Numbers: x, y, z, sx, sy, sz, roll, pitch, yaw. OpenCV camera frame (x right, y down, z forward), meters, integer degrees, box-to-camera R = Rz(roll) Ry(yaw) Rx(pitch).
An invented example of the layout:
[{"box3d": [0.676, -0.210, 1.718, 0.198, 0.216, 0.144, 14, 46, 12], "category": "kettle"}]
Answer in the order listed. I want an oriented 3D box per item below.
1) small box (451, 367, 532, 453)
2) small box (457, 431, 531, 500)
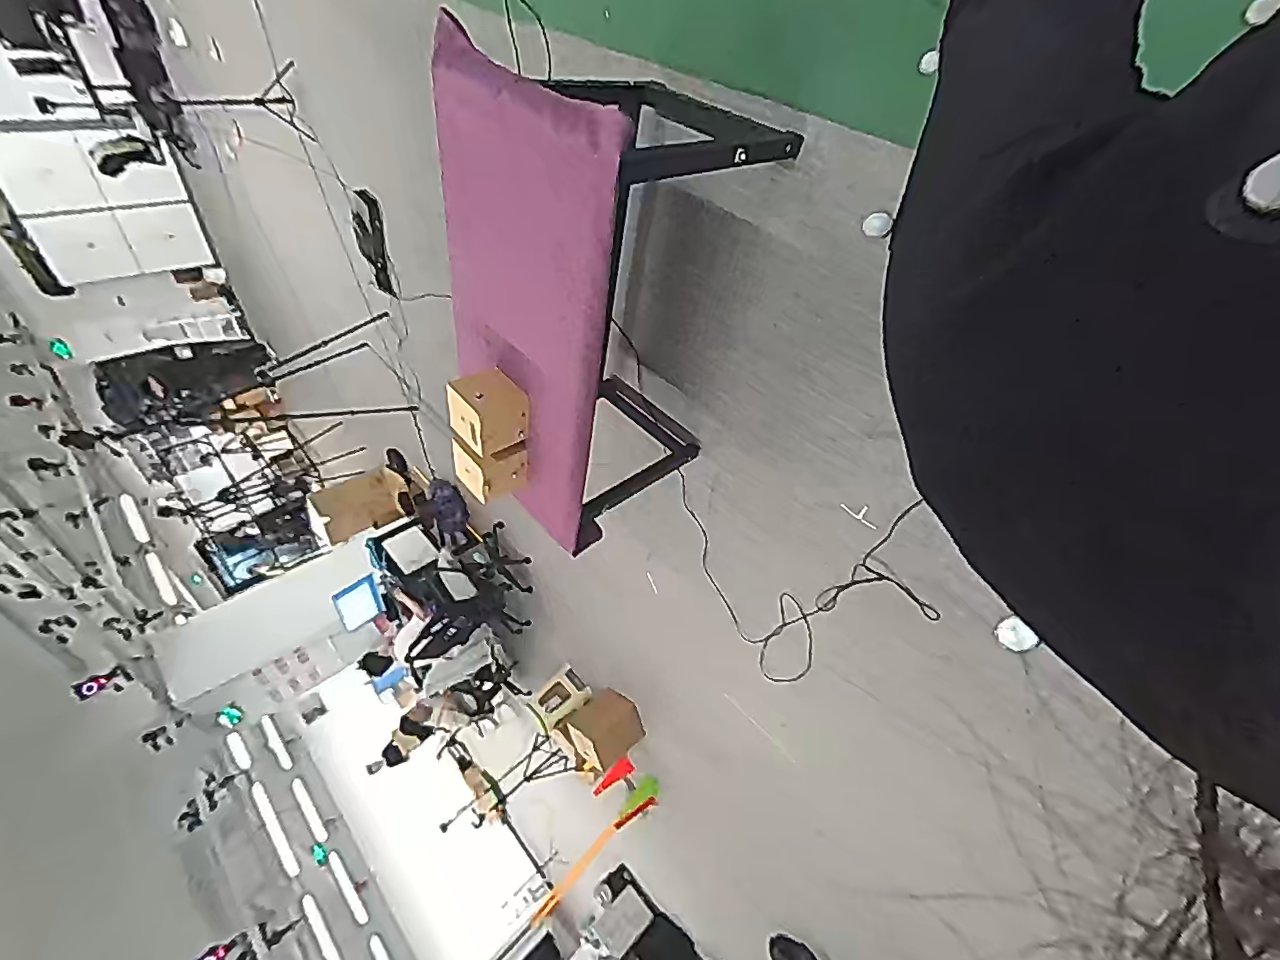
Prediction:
[{"box3d": [-0.440, -0.217, 1.623, 0.179, 0.176, 0.168, 42, 142, 25], "category": "small box"}, {"box3d": [-0.478, -0.072, 1.776, 0.179, 0.176, 0.168, 41, 142, 25], "category": "small box"}]
